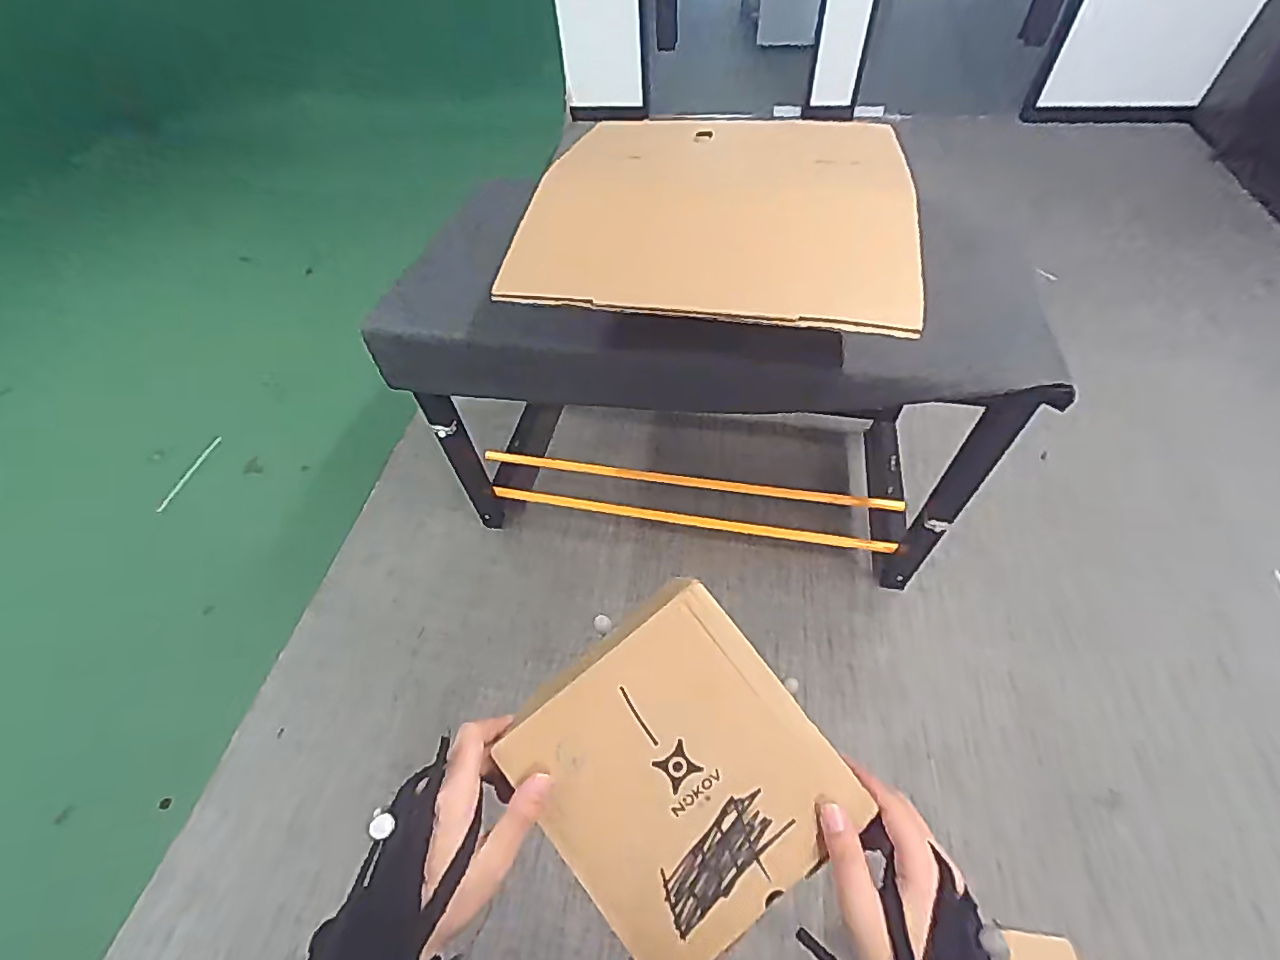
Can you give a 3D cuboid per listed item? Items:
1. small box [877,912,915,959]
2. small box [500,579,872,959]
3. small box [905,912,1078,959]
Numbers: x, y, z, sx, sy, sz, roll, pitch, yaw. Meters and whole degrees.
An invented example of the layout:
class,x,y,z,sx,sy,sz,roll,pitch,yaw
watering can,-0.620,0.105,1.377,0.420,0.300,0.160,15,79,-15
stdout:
class,x,y,z,sx,sy,sz,roll,pitch,yaw
small box,0.517,0.848,0.911,0.168,0.176,0.179,3,53,6
small box,0.027,0.188,0.409,0.168,0.176,0.179,-38,83,-7
small box,0.515,0.742,0.786,0.179,0.176,0.168,2,53,6
